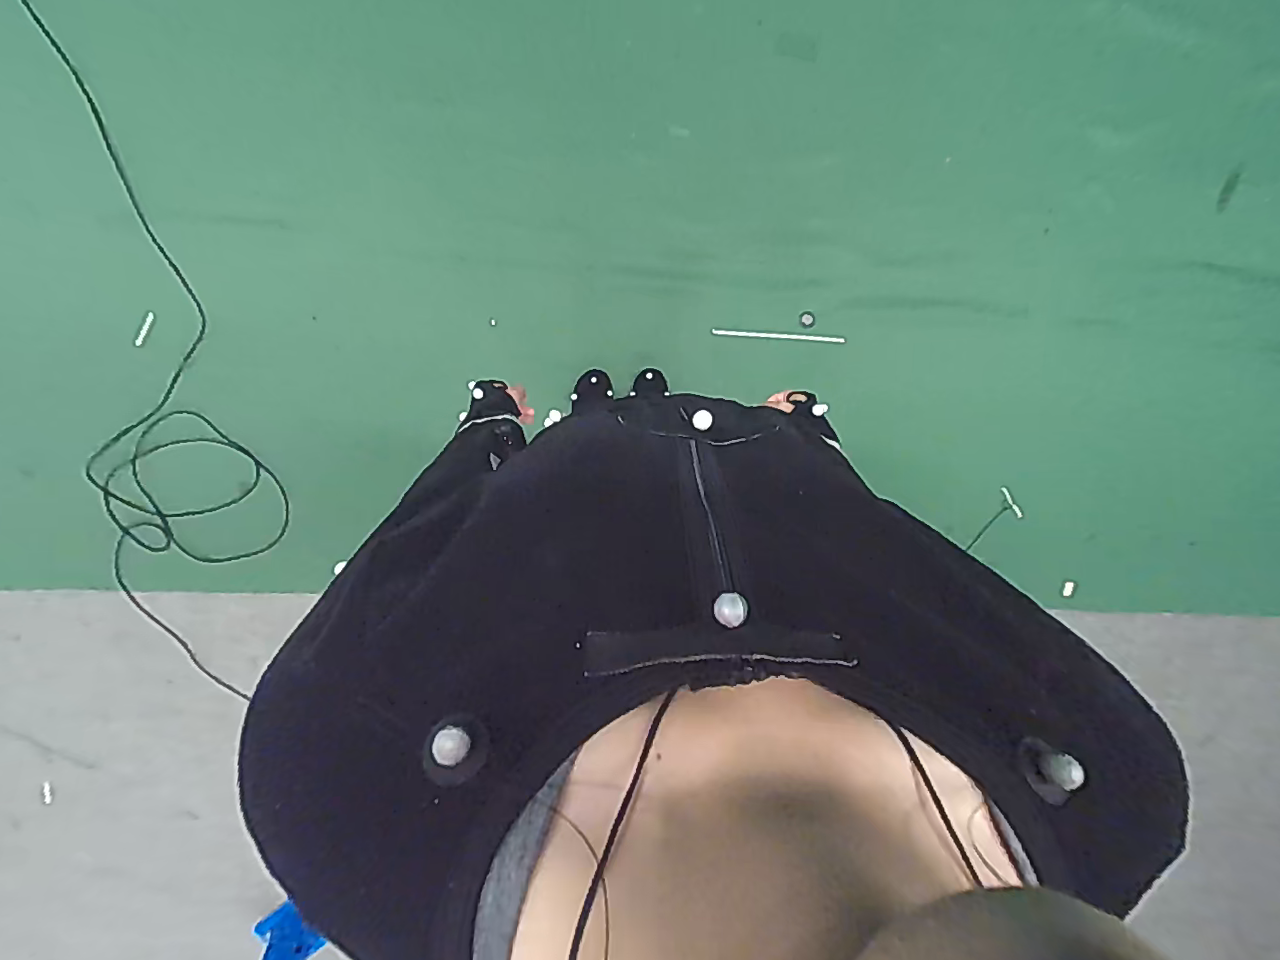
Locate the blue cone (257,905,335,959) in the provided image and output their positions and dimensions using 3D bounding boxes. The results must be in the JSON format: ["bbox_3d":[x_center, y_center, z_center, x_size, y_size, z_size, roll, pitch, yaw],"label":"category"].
[{"bbox_3d":[-1.052,1.458,1.520,0.193,0.380,0.192,-41,104,5],"label":"blue cone"}]
